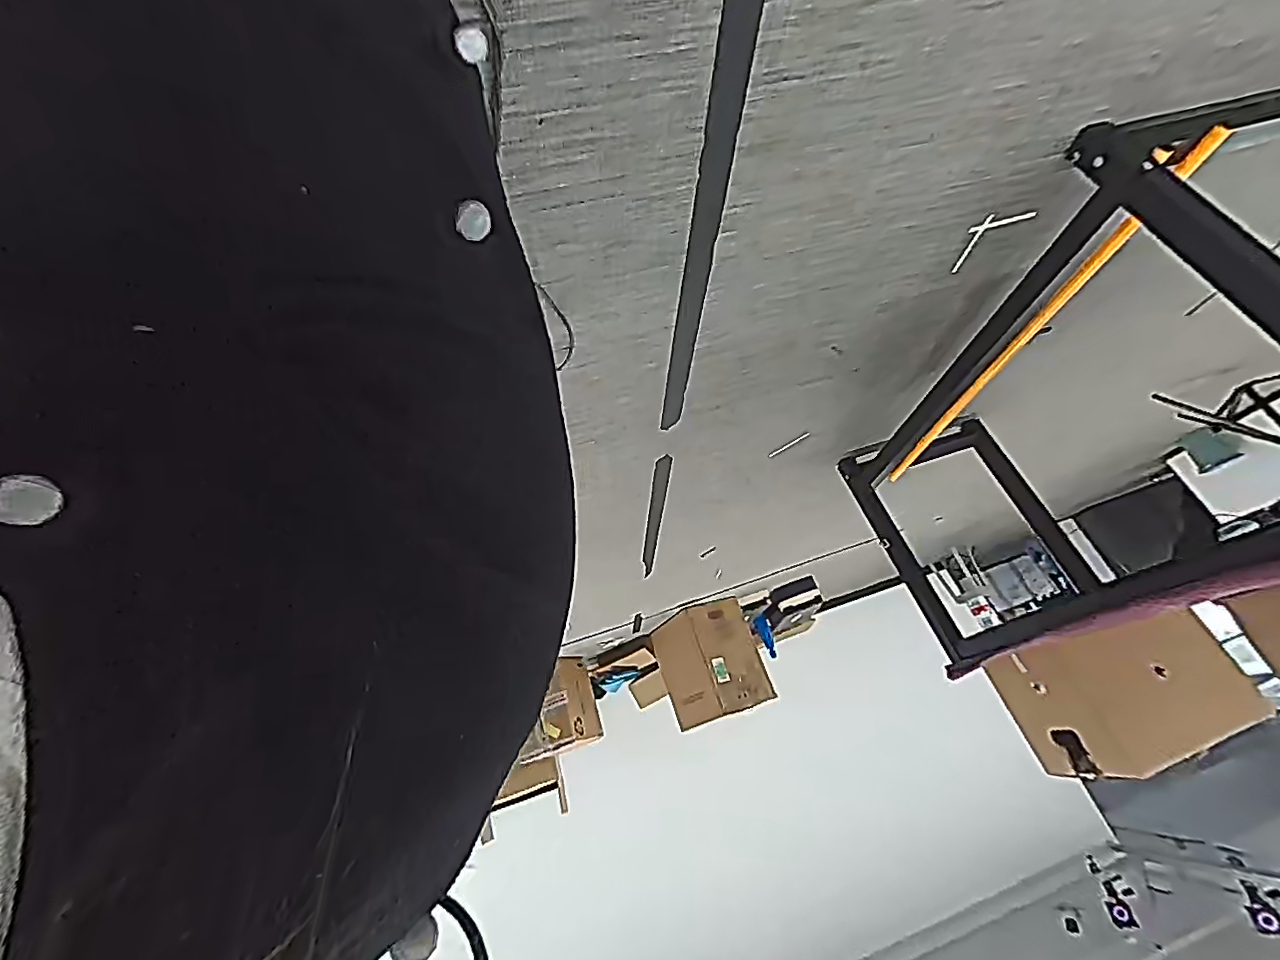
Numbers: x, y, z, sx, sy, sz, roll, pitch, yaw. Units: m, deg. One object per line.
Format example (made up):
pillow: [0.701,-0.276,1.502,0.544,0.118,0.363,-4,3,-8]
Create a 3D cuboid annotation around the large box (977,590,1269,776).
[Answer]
large box: [1.207,0.528,1.405,0.408,0.320,0.320,-17,155,-10]
